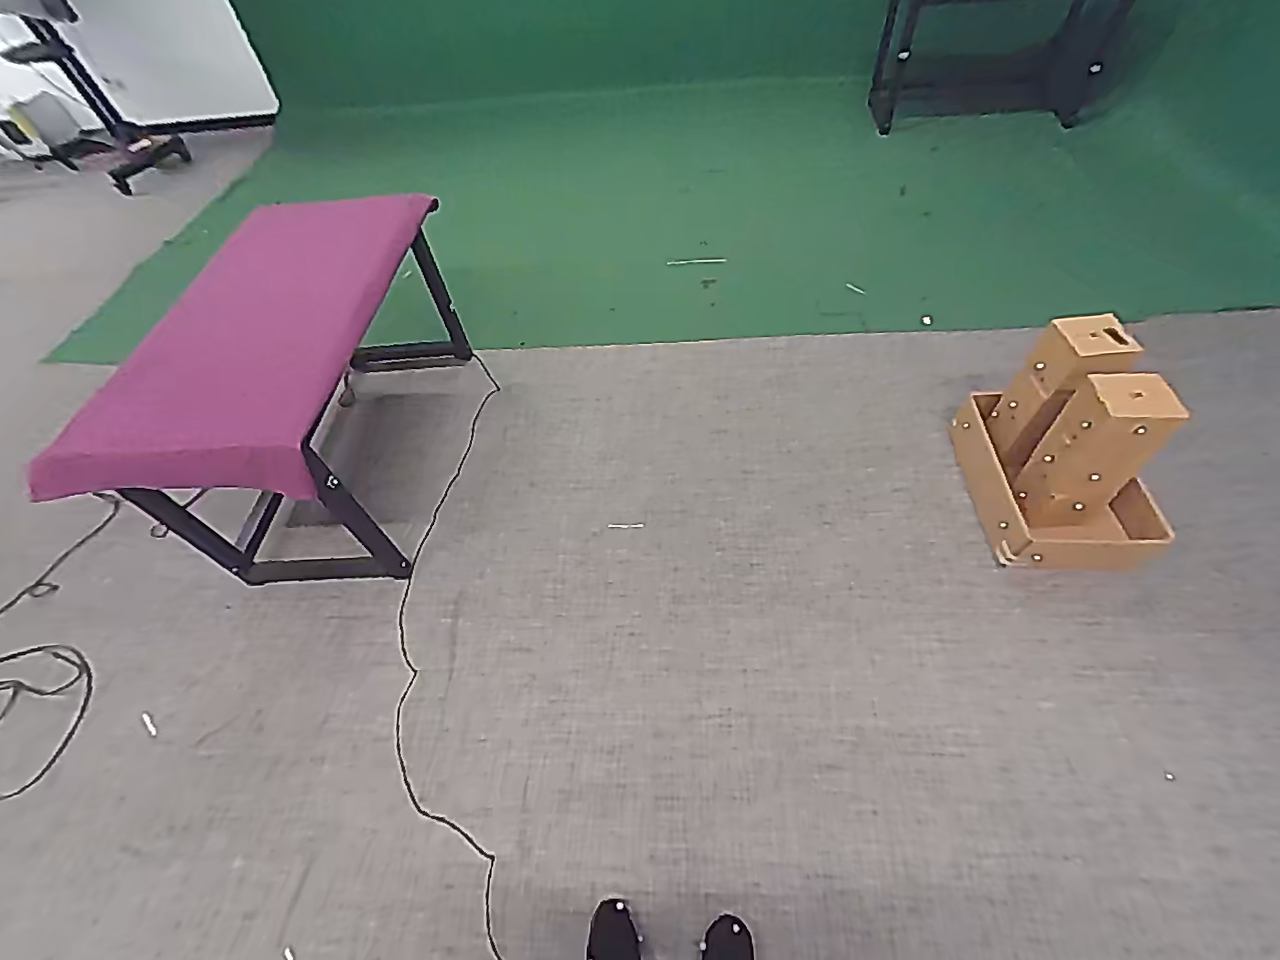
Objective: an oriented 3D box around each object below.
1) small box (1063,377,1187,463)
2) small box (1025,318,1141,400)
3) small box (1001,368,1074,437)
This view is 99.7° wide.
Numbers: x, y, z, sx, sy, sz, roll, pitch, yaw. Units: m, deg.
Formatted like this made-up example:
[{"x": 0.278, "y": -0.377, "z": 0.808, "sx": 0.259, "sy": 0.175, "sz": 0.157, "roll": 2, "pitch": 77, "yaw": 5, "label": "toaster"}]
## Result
[{"x": 1.291, "y": -0.161, "z": 1.463, "sx": 0.179, "sy": 0.176, "sz": 0.168, "roll": 2, "pitch": 52, "yaw": 8, "label": "small box"}, {"x": 1.301, "y": -0.355, "z": 1.603, "sx": 0.179, "sy": 0.176, "sz": 0.168, "roll": -5, "pitch": 53, "yaw": 2, "label": "small box"}, {"x": 1.308, "y": -0.250, "z": 1.730, "sx": 0.179, "sy": 0.176, "sz": 0.168, "roll": 0, "pitch": 54, "yaw": 5, "label": "small box"}]
